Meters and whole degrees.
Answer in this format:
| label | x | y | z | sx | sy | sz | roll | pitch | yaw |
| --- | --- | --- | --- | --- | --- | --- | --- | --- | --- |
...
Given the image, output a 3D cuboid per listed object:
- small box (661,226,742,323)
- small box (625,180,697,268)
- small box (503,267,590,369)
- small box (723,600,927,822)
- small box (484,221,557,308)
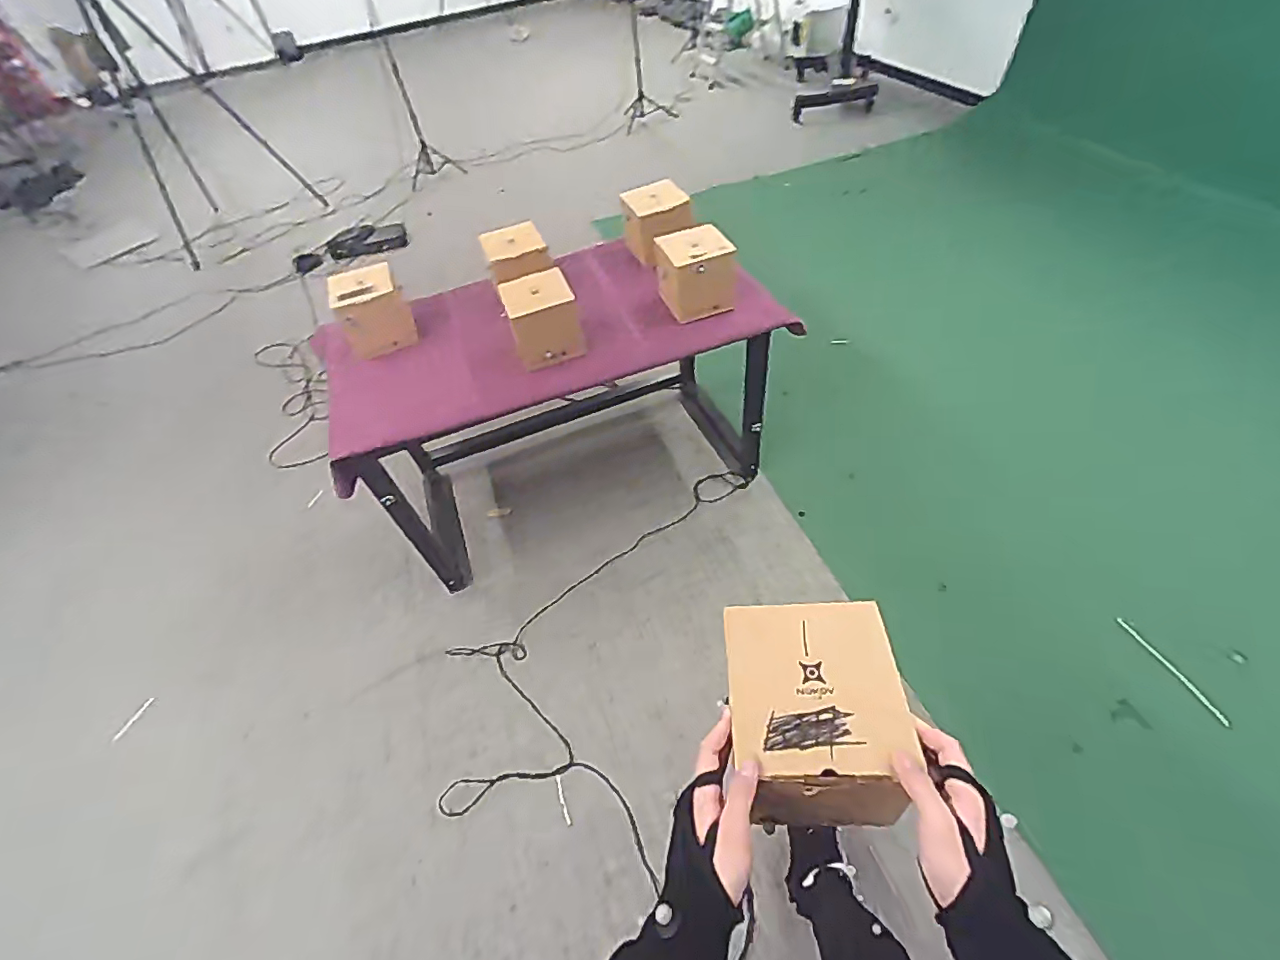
| label | x | y | z | sx | sy | sz | roll | pitch | yaw |
| --- | --- | --- | --- | --- | --- | --- | --- | --- | --- |
| small box | 0.163 | -0.552 | 1.456 | 0.168 | 0.176 | 0.179 | -18 | 48 | -6 |
| small box | 0.067 | -0.781 | 1.654 | 0.168 | 0.176 | 0.179 | -21 | 52 | -7 |
| small box | -0.240 | -0.416 | 1.397 | 0.168 | 0.176 | 0.179 | -19 | 50 | -7 |
| small box | 0.179 | 0.250 | 0.579 | 0.168 | 0.176 | 0.179 | -4 | 45 | 7 |
| small box | -0.340 | -0.625 | 1.584 | 0.168 | 0.176 | 0.179 | -20 | 52 | -10 |
